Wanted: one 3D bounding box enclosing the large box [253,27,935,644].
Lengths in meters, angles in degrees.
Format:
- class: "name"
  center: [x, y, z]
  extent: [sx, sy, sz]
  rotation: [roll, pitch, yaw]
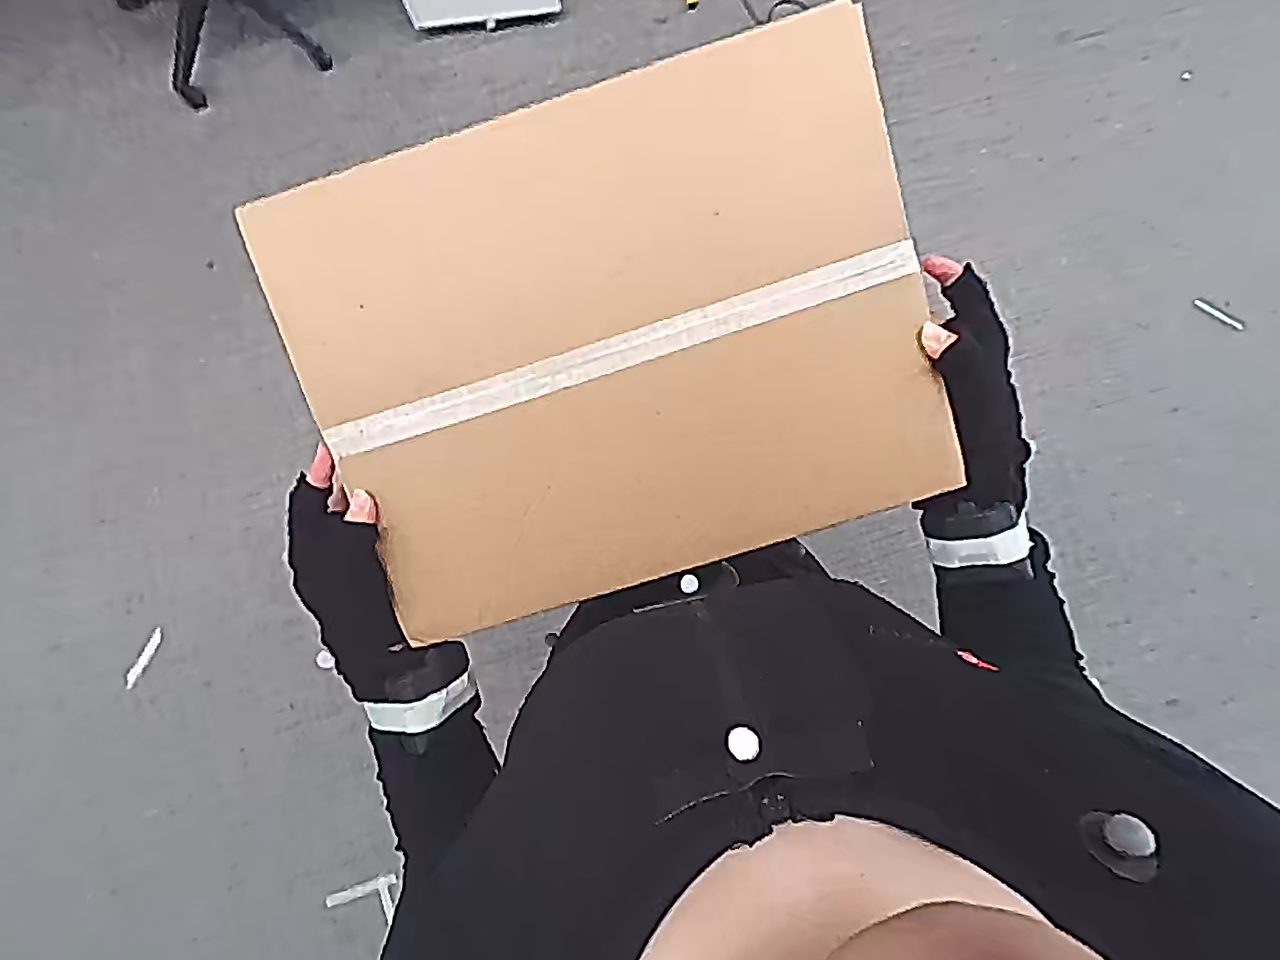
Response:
- class: "large box"
  center: [-0.022, -0.106, 0.515]
  extent: [0.408, 0.320, 0.320]
  rotation: [-17, 98, 3]
